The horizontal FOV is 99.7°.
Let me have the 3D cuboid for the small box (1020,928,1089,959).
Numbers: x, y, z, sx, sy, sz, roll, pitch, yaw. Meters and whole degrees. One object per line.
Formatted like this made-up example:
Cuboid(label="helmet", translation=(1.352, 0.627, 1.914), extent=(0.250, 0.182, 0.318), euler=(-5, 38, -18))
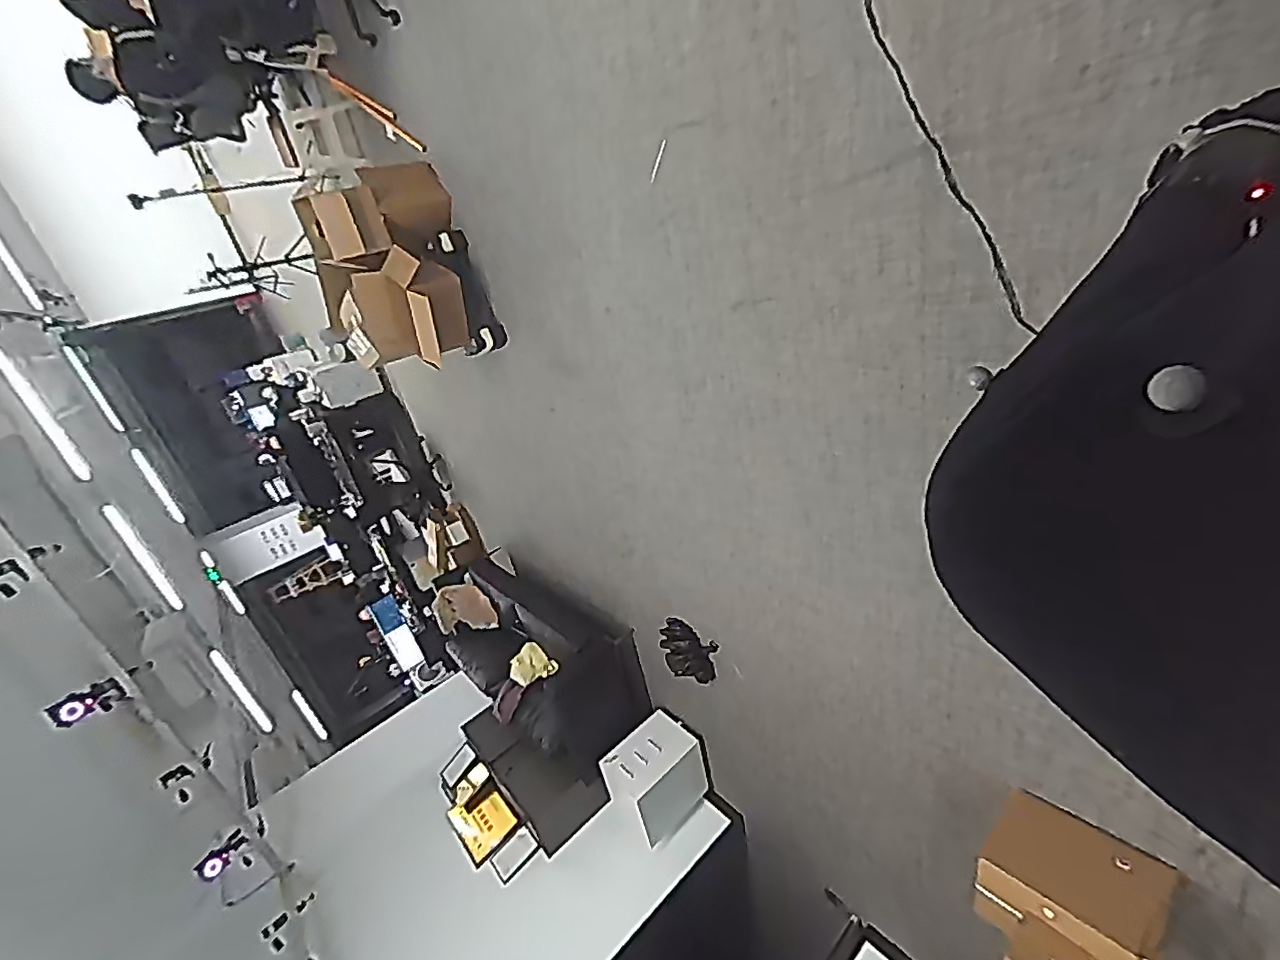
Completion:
Cuboid(label="small box", translation=(1.164, 1.410, 1.507), extent=(0.179, 0.176, 0.168), euler=(24, 129, 45))
